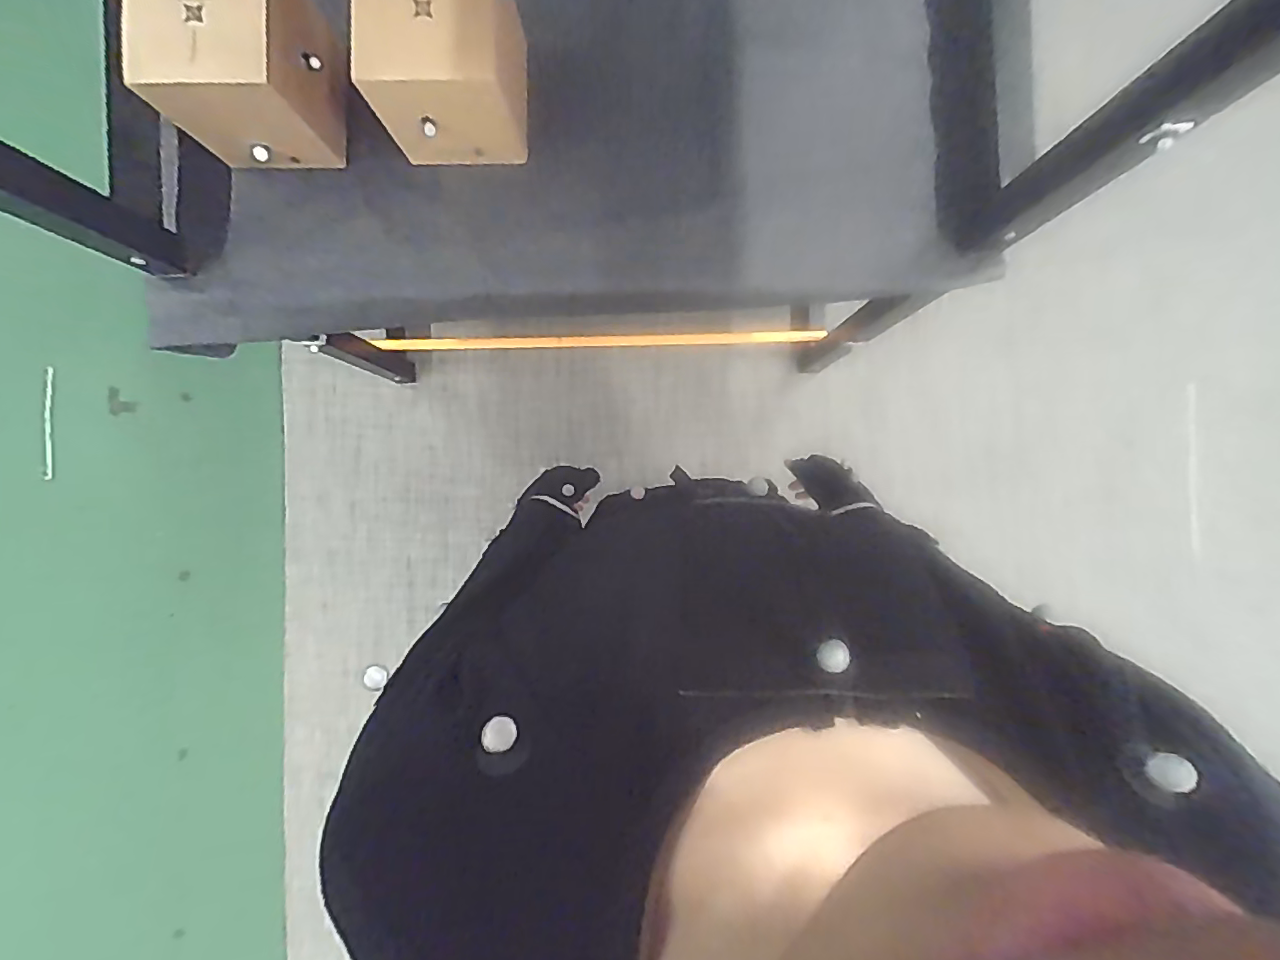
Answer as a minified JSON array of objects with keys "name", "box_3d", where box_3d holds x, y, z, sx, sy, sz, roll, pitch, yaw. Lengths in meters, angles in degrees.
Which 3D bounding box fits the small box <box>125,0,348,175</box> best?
[{"name":"small box","box_3d":[-0.499,-0.526,0.693,0.168,0.176,0.179,0,90,0]}]

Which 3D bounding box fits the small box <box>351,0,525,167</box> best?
[{"name":"small box","box_3d":[-0.246,-0.531,0.695,0.168,0.176,0.179,-1,89,0]}]
